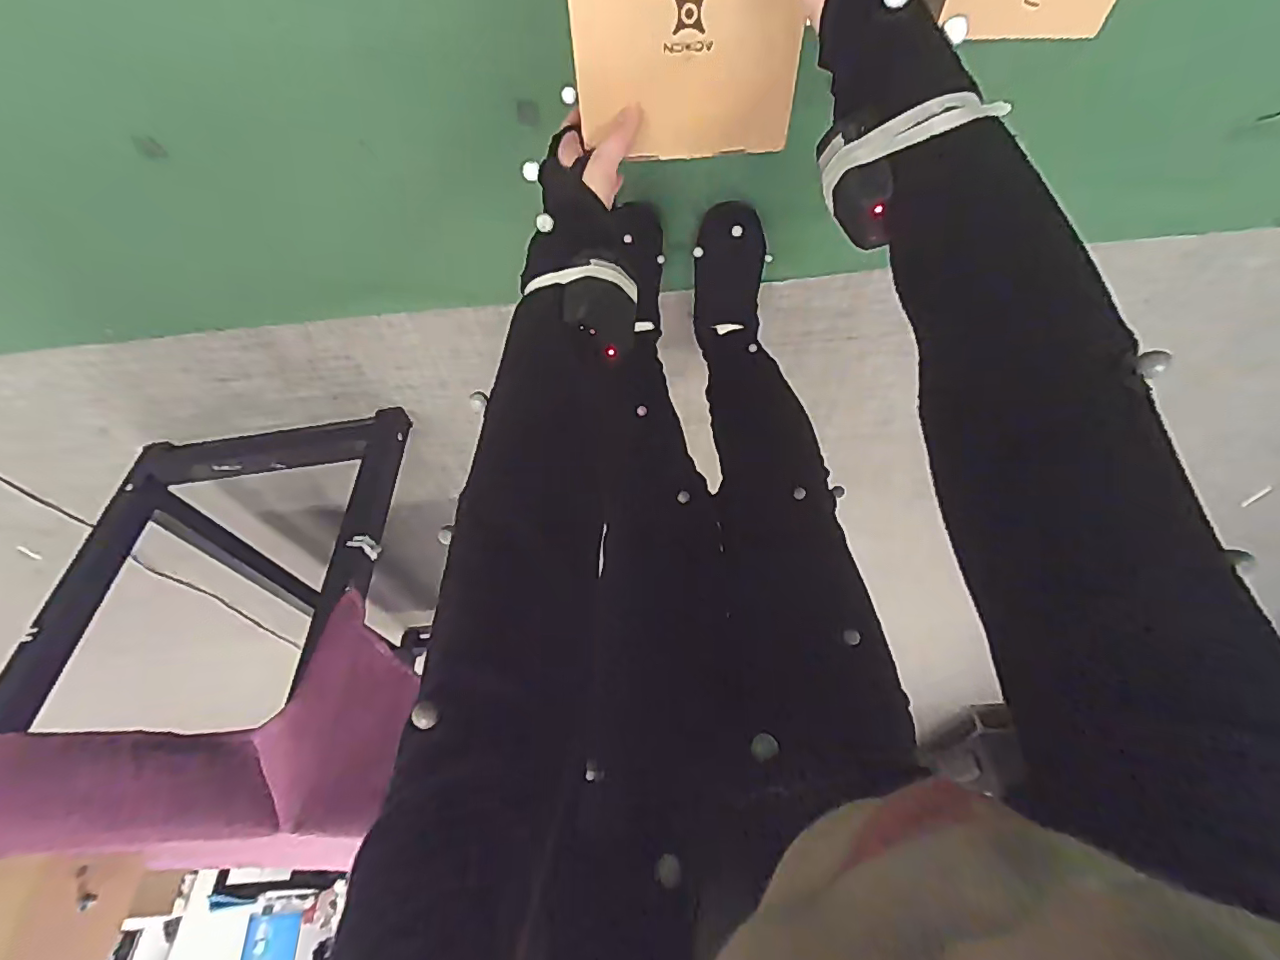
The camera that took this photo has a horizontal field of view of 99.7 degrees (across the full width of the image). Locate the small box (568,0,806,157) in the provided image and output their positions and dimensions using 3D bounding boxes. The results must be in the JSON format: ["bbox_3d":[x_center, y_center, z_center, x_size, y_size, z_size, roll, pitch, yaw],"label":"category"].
[{"bbox_3d":[0.027,-0.384,0.421,0.168,0.176,0.179,-3,144,0],"label":"small box"}]

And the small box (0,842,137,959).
[{"bbox_3d":[-0.862,0.609,0.738,0.179,0.176,0.168,-8,145,1],"label":"small box"}]
